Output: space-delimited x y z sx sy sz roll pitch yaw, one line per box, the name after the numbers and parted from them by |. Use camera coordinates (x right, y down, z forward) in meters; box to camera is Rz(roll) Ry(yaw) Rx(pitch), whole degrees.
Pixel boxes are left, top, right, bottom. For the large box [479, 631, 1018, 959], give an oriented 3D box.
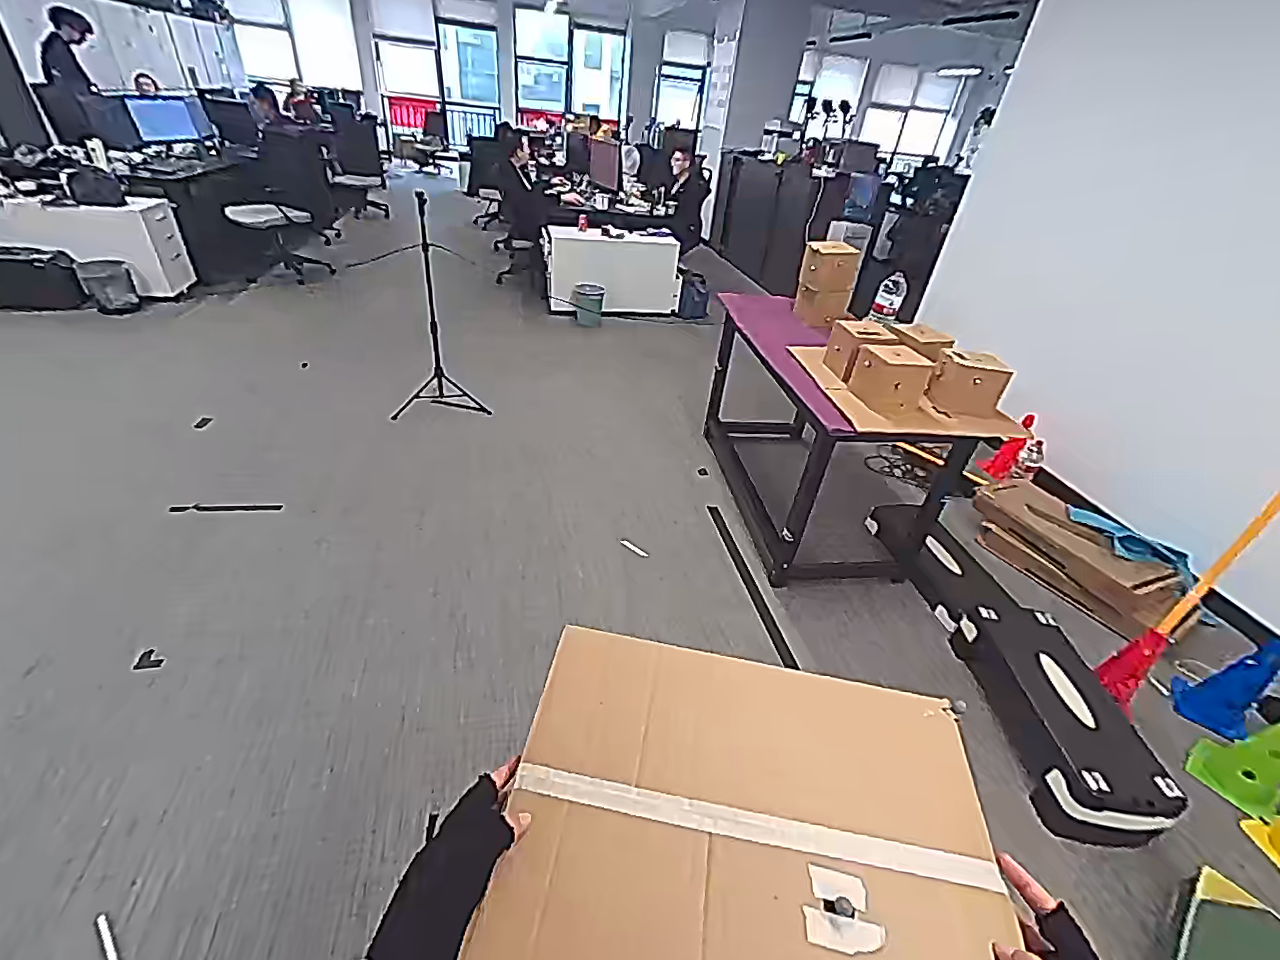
0.085 0.405 0.560 0.408 0.320 0.320 11 41 4 | large box
